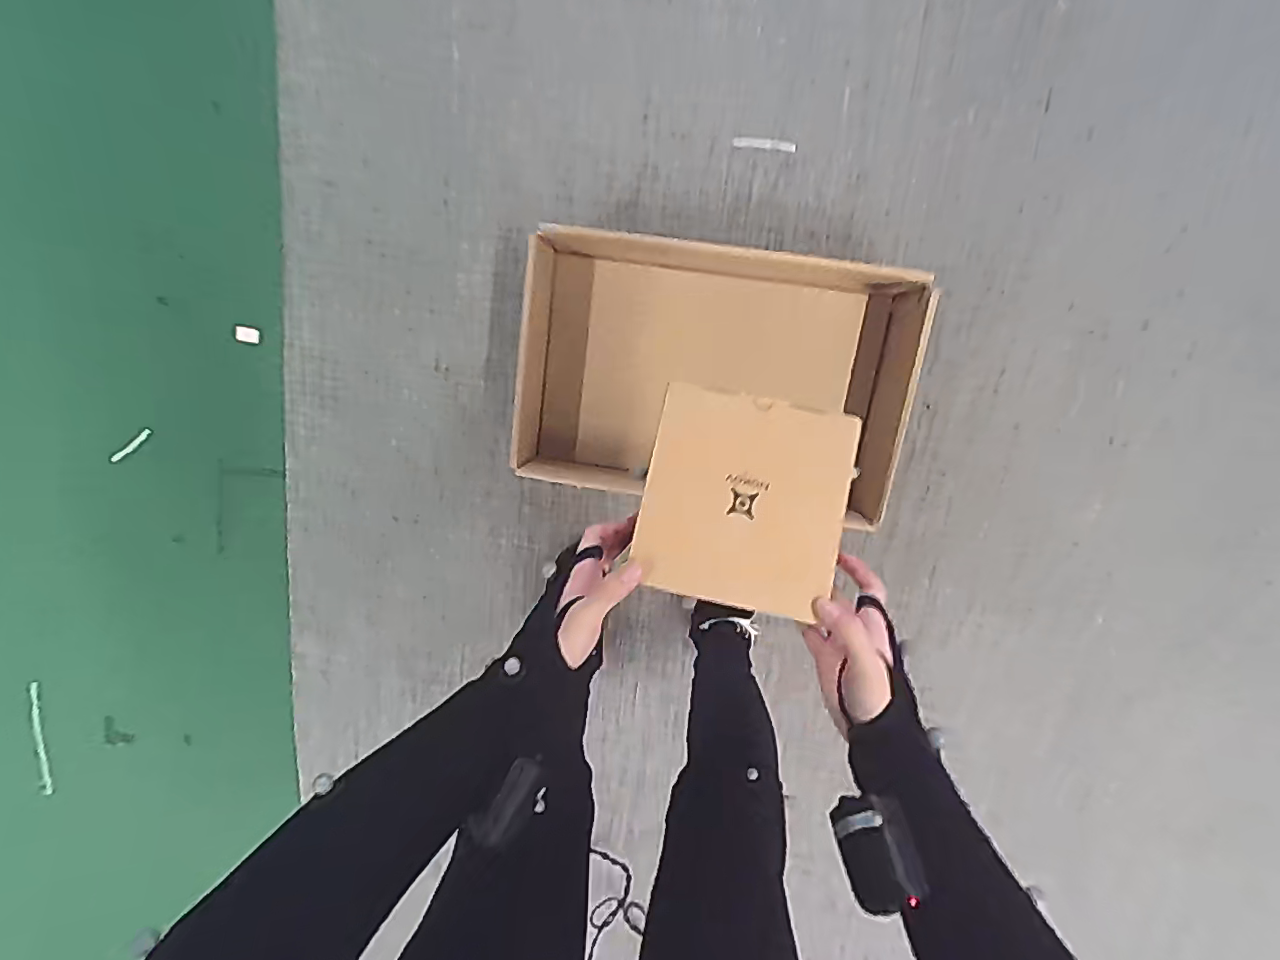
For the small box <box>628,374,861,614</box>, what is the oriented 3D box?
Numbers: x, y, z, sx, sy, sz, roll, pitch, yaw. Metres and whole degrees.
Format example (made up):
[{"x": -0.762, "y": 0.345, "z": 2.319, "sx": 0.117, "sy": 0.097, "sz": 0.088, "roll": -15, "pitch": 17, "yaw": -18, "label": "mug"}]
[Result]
[{"x": 0.093, "y": 0.021, "z": 0.528, "sx": 0.168, "sy": 0.176, "sz": 0.179, "roll": 12, "pitch": 80, "yaw": 5, "label": "small box"}]
